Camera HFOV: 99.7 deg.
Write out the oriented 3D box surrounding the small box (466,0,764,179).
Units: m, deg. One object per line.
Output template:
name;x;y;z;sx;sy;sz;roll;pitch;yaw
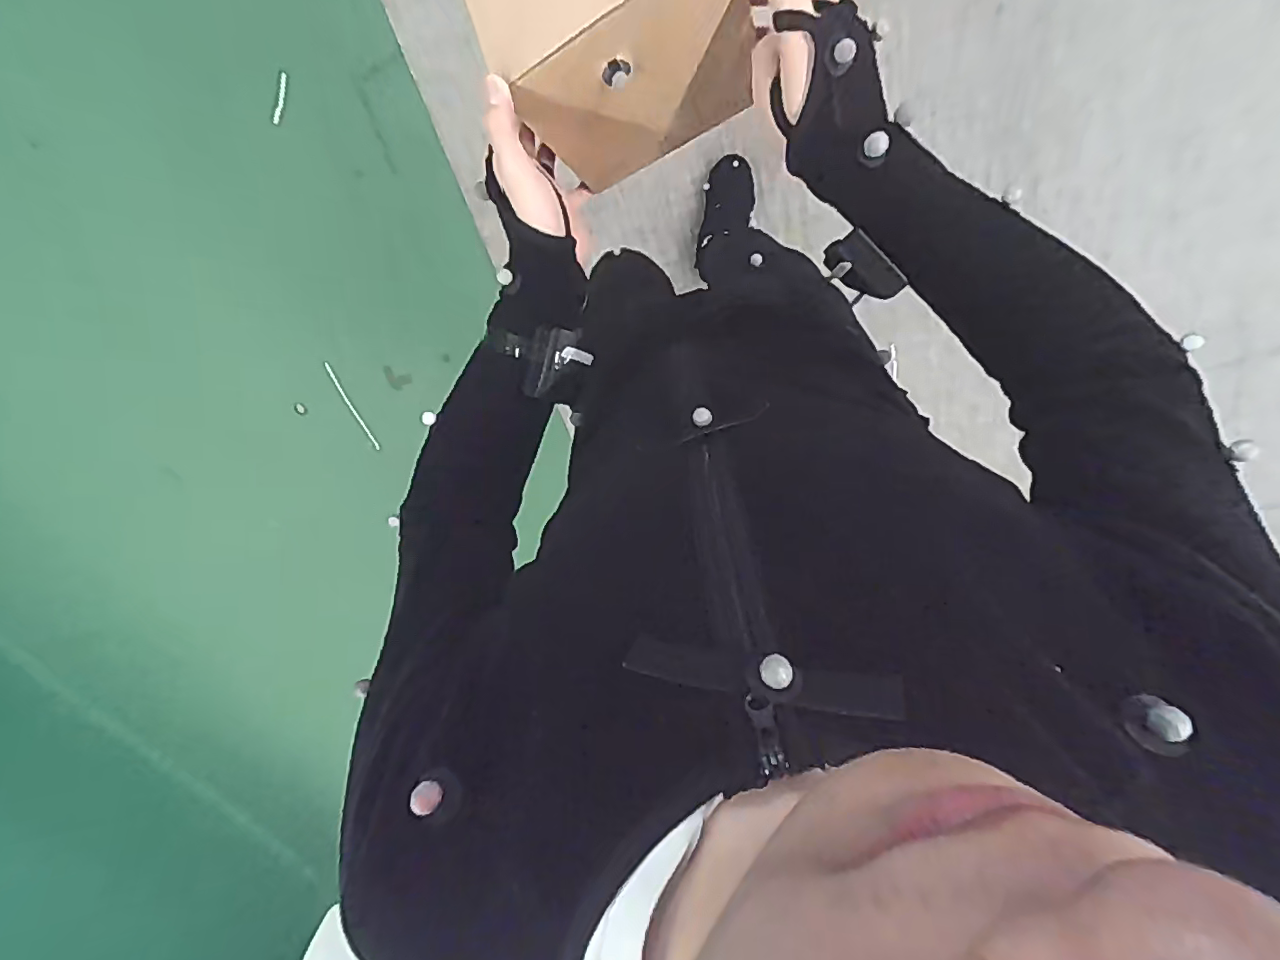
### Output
small box;-0.020;-0.374;0.415;0.179;0.176;0.168;-19;88;20
